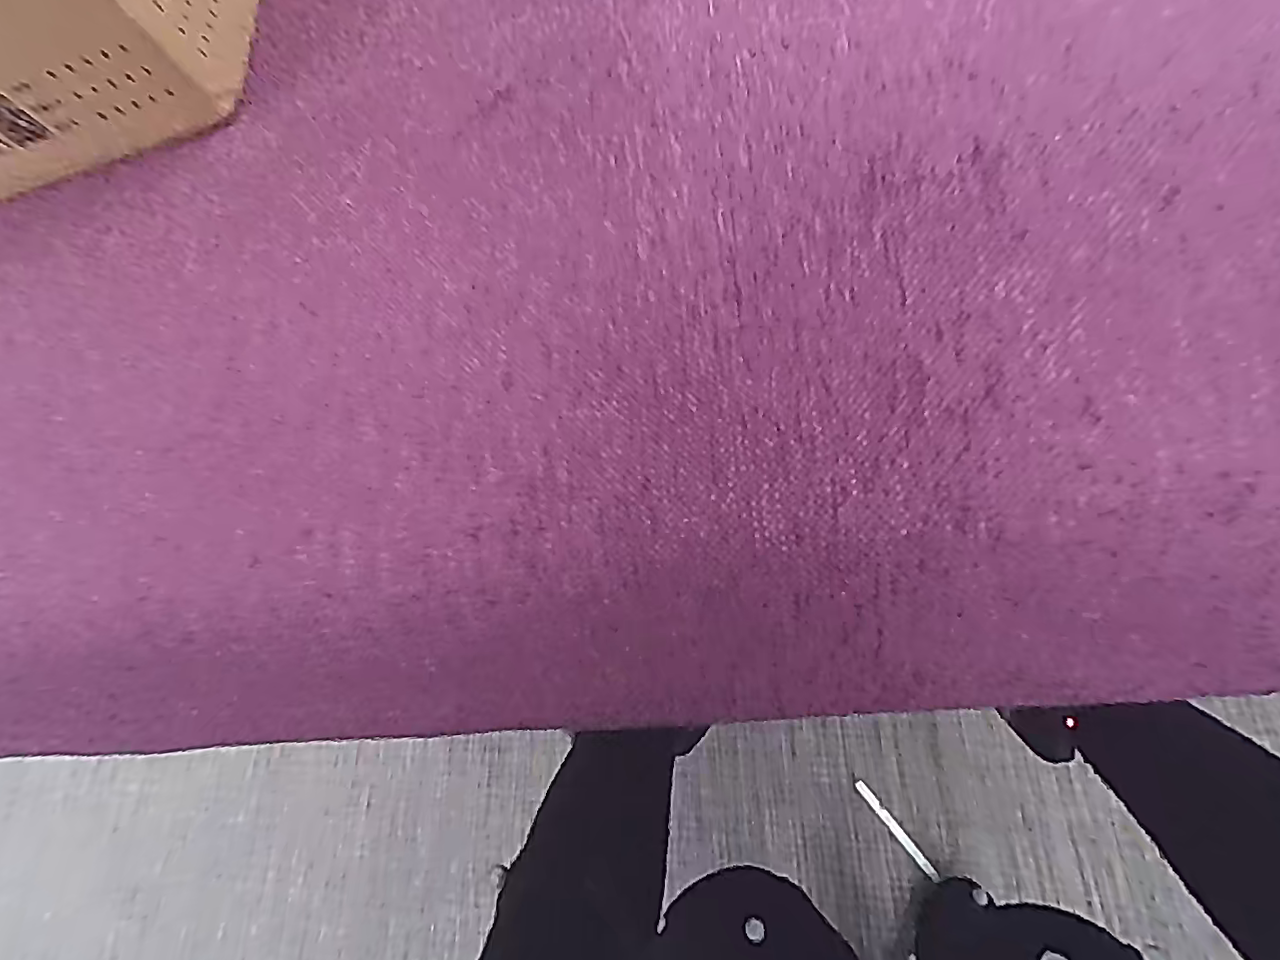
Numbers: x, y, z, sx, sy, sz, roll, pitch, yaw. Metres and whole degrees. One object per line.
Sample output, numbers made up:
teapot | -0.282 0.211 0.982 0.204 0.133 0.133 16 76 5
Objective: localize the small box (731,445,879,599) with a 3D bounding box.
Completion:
small box | 0.214 0.068 0.736 0.168 0.176 0.179 -4 70 11
